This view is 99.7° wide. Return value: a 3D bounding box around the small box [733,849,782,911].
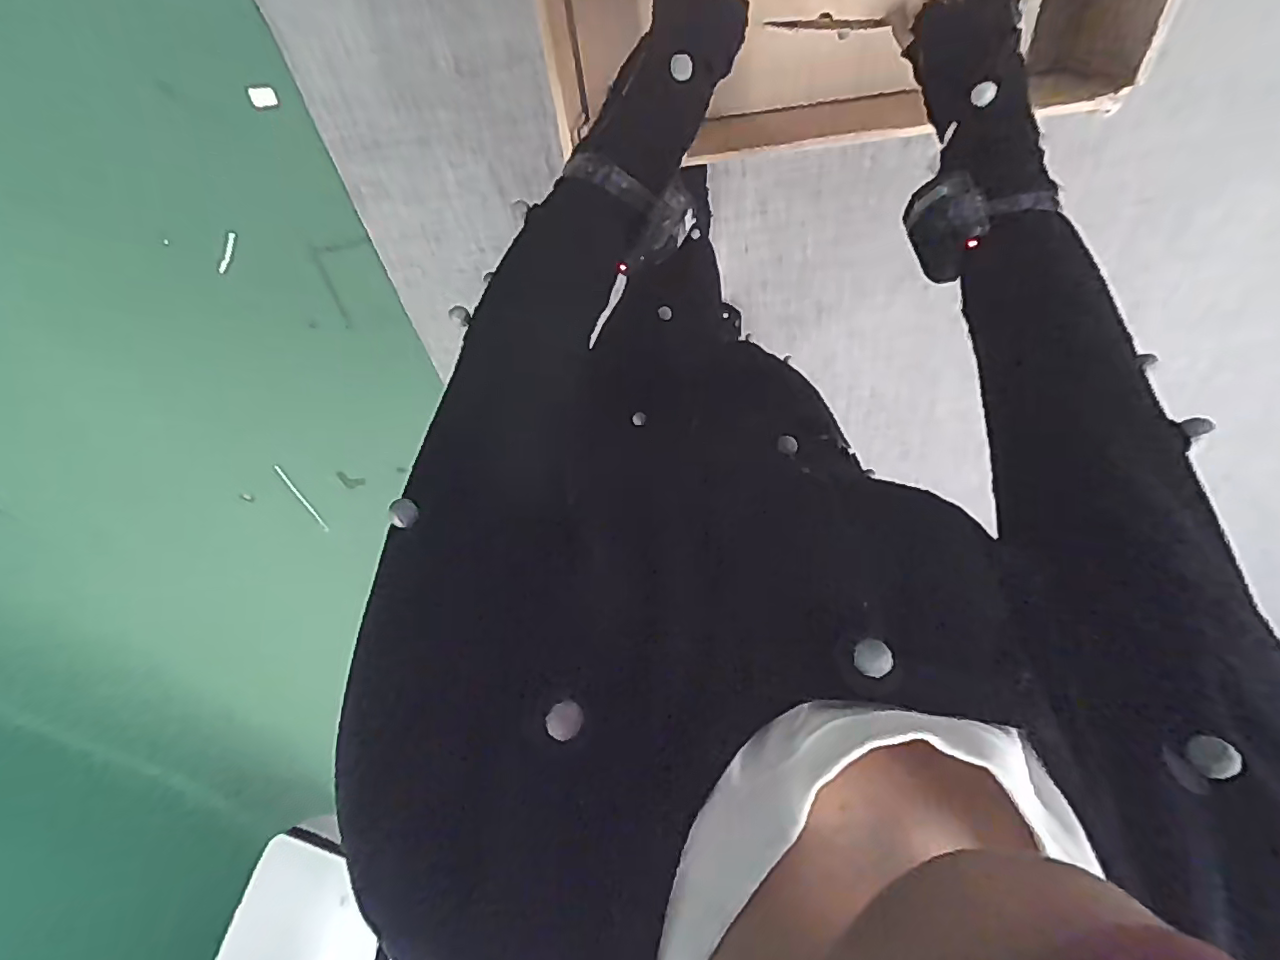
[{"bbox_3d":[0.458,1.561,2.113,0.168,0.176,0.179,-7,133,8],"label":"small box"}]
